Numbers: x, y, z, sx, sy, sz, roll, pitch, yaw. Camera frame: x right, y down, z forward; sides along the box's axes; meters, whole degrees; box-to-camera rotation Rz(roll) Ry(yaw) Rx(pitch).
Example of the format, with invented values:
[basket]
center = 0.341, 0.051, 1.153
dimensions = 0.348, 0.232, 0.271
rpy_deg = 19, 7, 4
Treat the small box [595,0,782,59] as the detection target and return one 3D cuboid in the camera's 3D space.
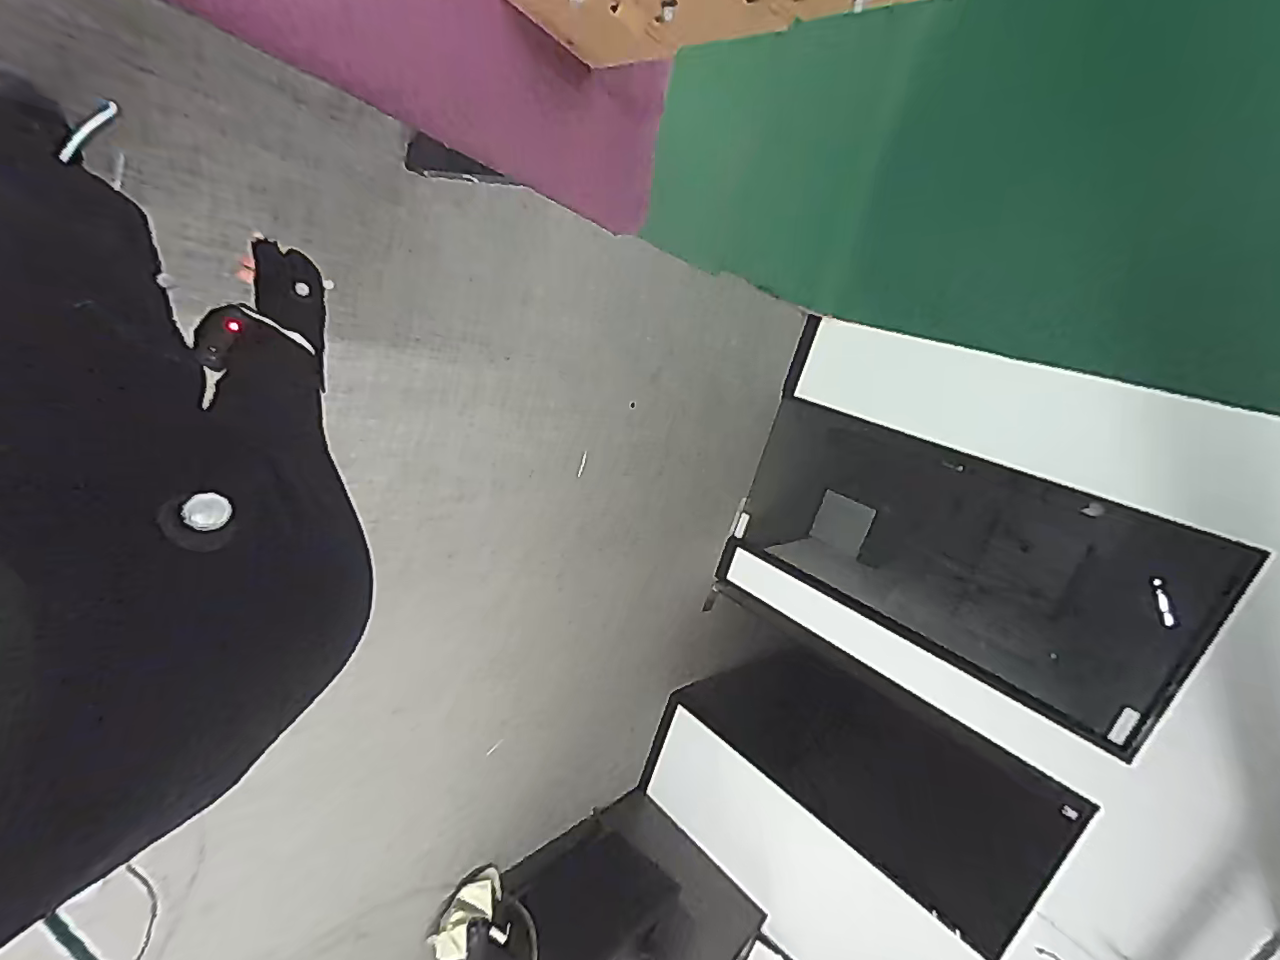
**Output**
[small box]
center = 0.062, -0.591, 0.572
dimensions = 0.168, 0.176, 0.179
rpy_deg = -4, 114, -48
